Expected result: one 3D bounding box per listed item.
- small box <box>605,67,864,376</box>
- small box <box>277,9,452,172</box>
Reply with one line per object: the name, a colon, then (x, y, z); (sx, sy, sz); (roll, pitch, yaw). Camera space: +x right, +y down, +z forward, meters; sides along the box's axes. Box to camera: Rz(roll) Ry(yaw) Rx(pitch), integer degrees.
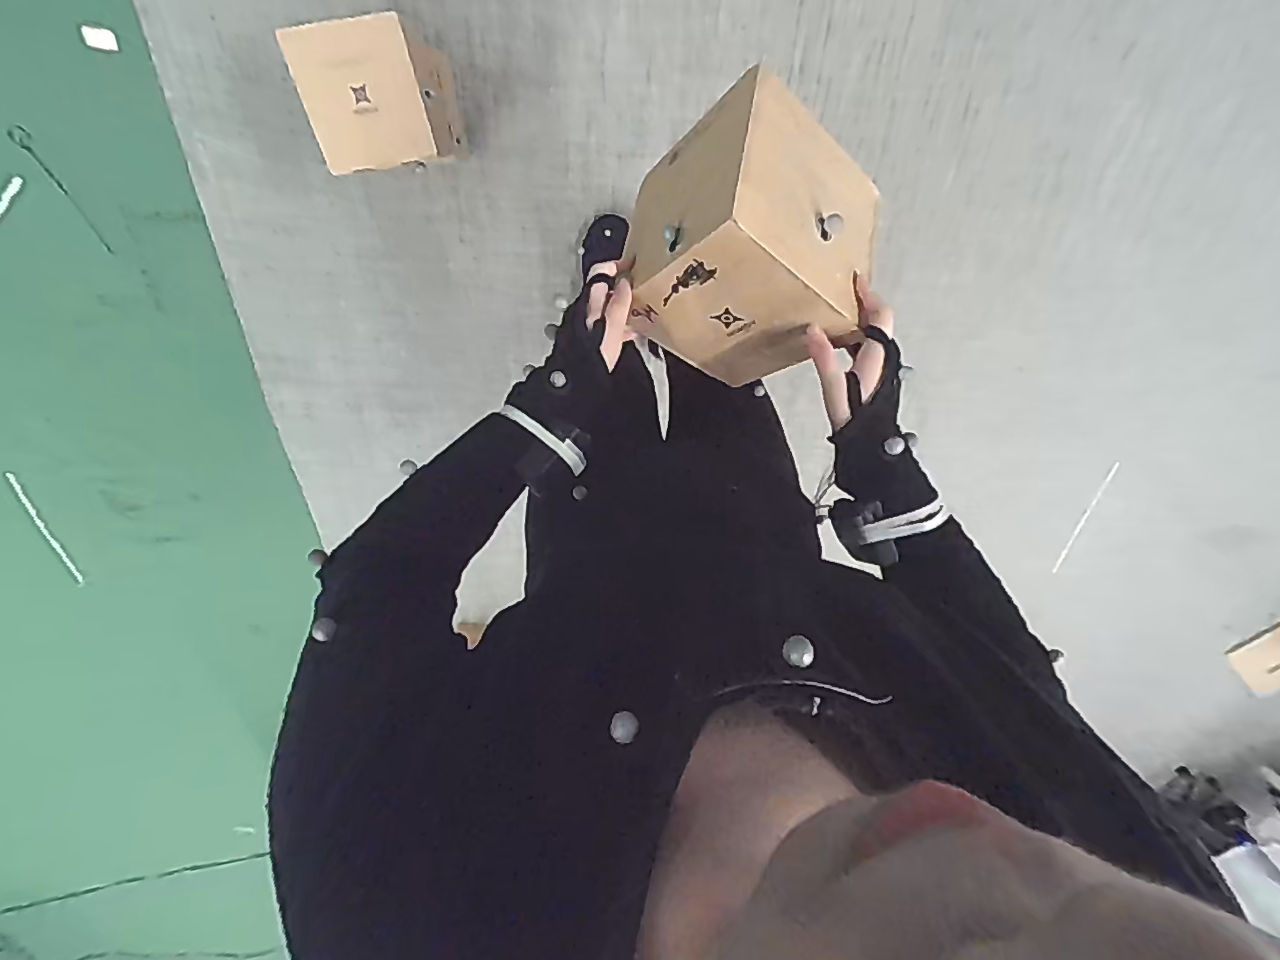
small box: (0.095, -0.230, 0.518); (0.179, 0.176, 0.168); (22, 159, -31)
small box: (-0.406, -0.594, 0.838); (0.168, 0.176, 0.179); (-10, 123, -2)
